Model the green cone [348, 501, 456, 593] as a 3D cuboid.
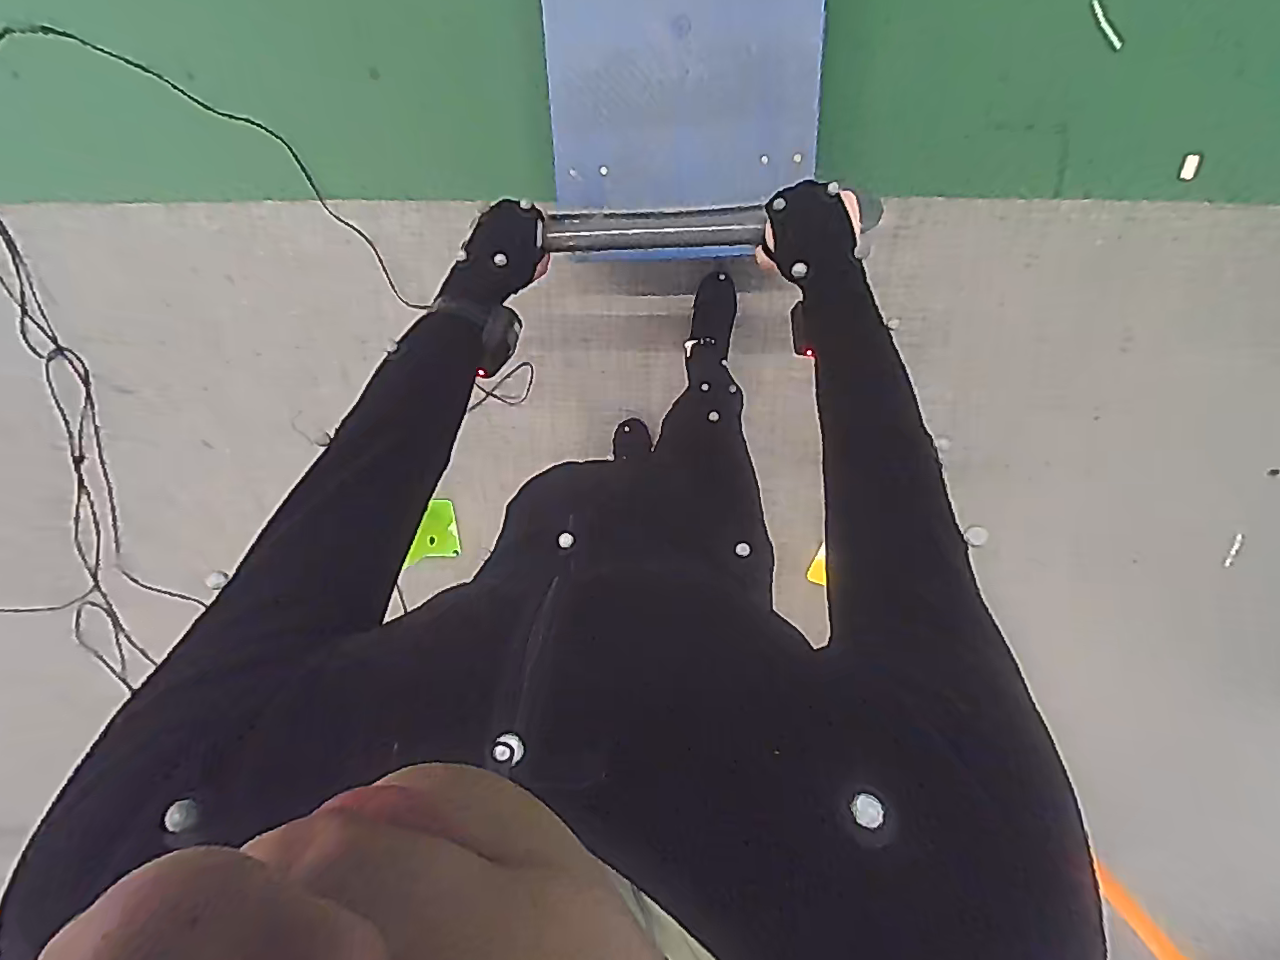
[{"bbox_3d":[-0.719,0.216,1.578,0.202,0.368,0.200,0,109,8],"label":"green cone"}]
